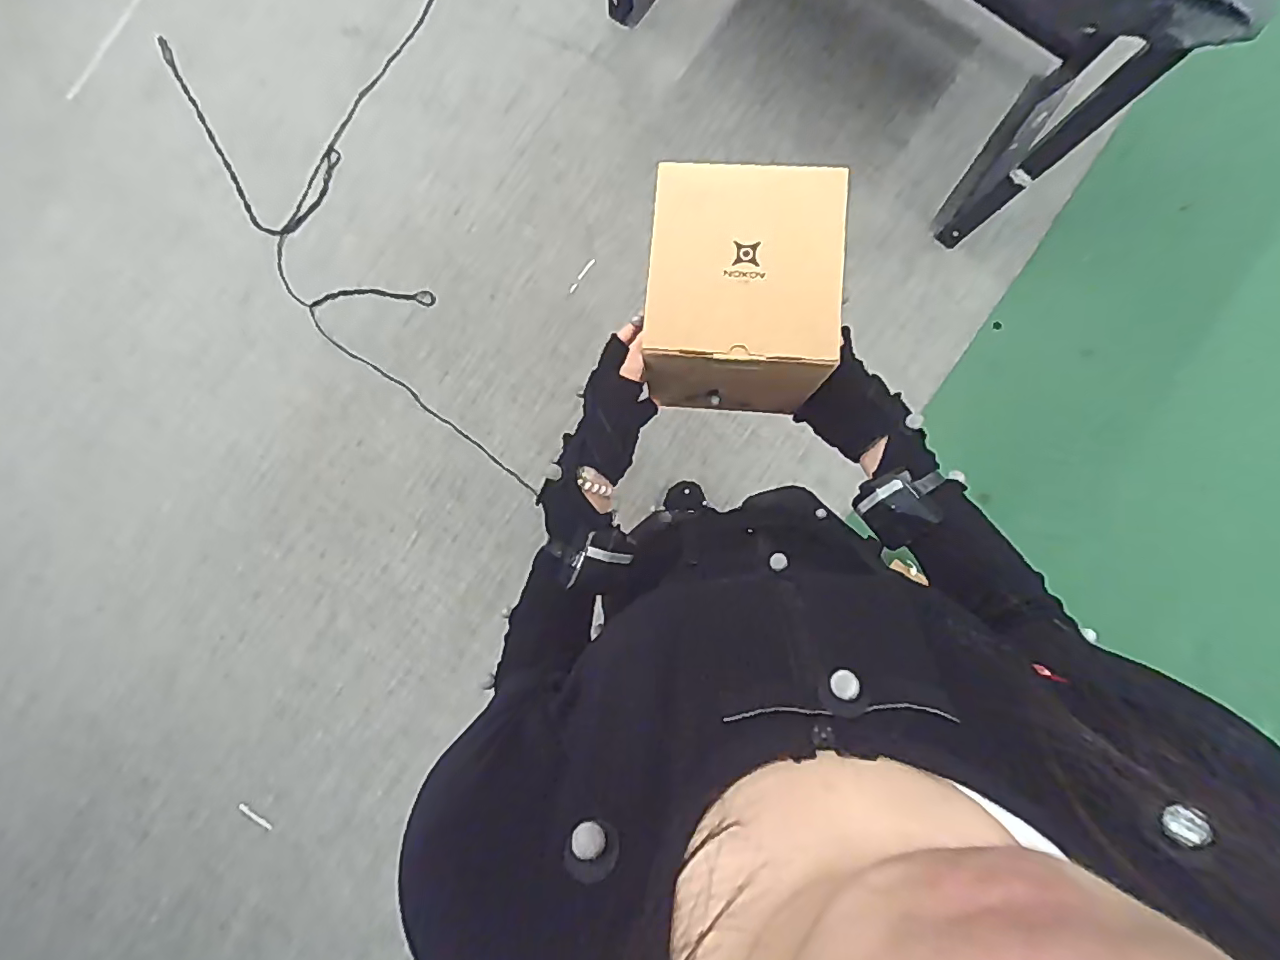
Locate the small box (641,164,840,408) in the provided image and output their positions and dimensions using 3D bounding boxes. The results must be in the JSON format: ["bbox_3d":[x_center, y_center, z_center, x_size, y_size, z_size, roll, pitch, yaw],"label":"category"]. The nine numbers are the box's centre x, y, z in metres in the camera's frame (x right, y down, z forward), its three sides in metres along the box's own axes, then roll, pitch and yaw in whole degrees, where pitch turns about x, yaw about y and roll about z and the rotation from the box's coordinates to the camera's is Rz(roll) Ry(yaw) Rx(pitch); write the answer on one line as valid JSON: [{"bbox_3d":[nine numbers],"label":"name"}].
[{"bbox_3d":[0.093,-0.184,0.553,0.168,0.176,0.179,5,85,4],"label":"small box"}]
